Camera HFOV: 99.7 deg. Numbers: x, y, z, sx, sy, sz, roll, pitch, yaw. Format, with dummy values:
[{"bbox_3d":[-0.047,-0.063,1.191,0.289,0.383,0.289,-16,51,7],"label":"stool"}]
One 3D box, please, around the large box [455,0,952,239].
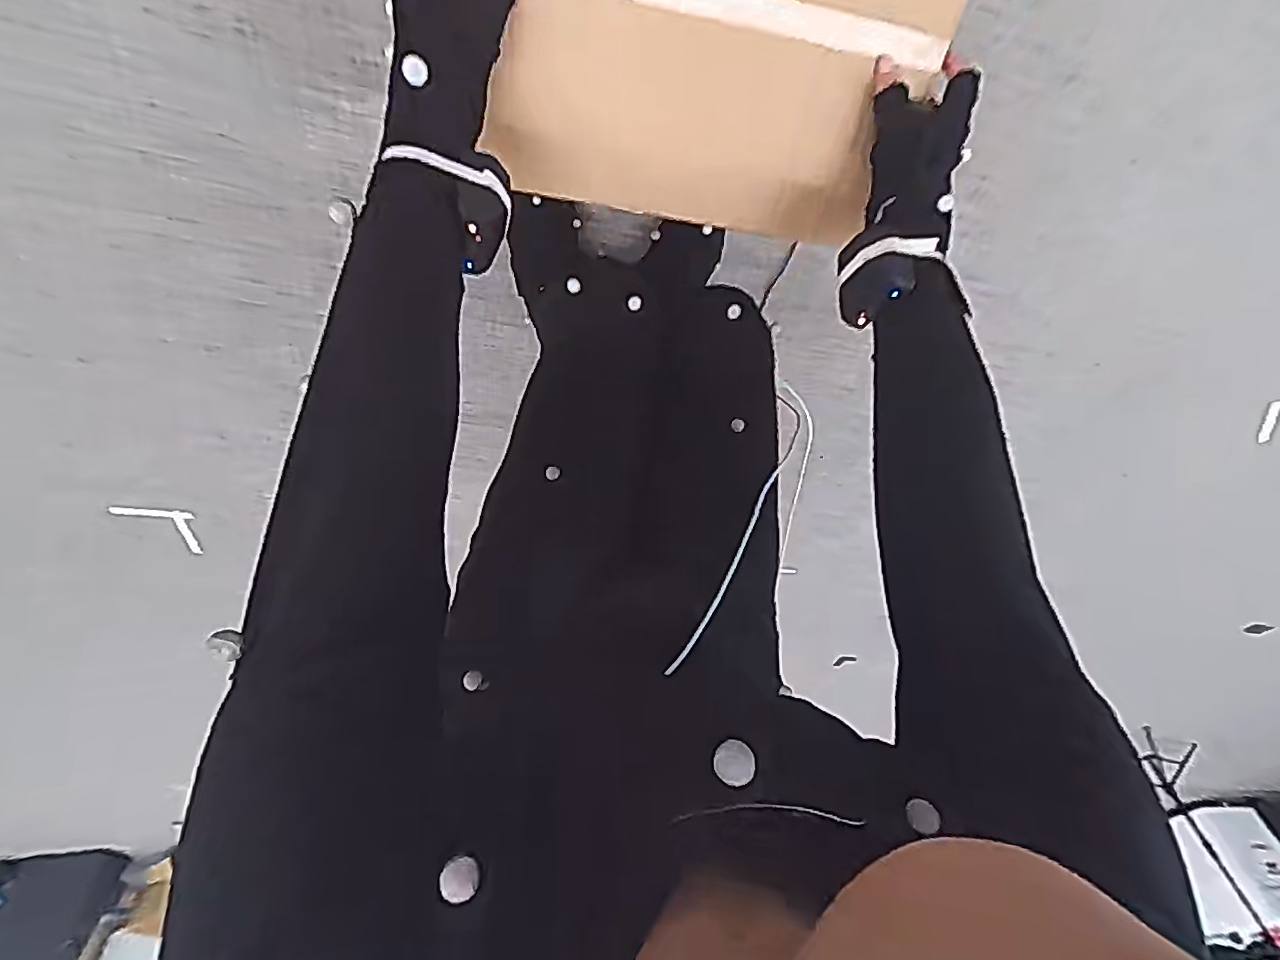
[{"bbox_3d":[0.047,-0.478,0.553,0.408,0.320,0.320,7,127,-9],"label":"large box"}]
